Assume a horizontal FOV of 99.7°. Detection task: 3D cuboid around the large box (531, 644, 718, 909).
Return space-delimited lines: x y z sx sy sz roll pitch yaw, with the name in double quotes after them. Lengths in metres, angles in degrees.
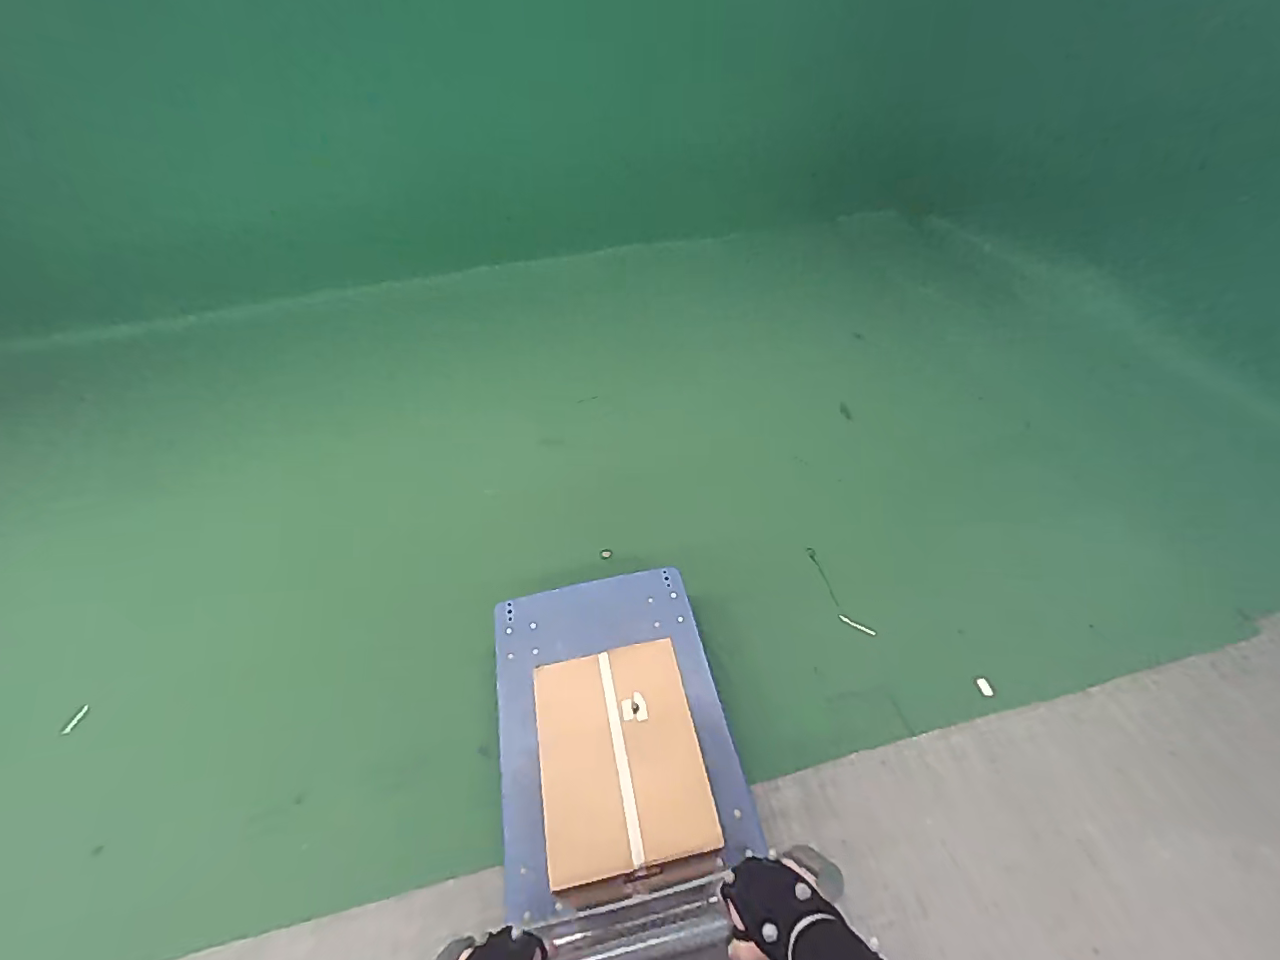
-0.040 0.640 1.181 0.320 0.320 0.408 -10 48 -6 "large box"
